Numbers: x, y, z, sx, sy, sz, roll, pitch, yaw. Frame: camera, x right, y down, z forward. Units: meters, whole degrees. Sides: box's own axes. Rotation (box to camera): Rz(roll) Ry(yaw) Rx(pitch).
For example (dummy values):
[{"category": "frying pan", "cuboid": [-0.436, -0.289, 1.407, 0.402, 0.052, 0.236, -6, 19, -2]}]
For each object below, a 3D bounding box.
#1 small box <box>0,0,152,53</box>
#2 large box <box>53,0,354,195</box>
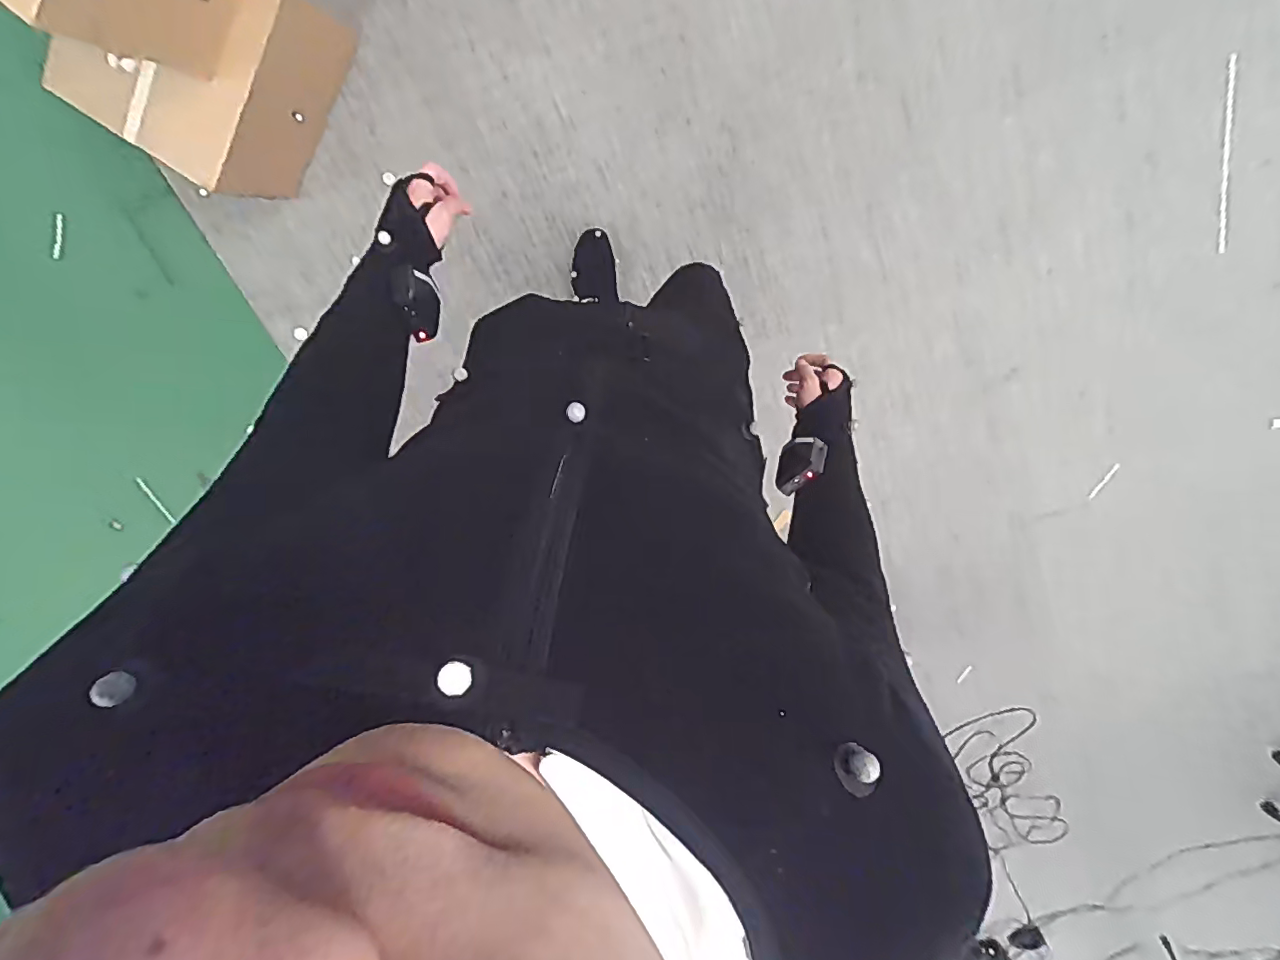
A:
[{"category": "small box", "cuboid": [-0.803, -0.735, 0.726, 0.168, 0.176, 0.179, 37, 109, -17]}, {"category": "large box", "cuboid": [-0.869, -0.869, 1.115, 0.320, 0.320, 0.408, 32, 112, -15]}]
